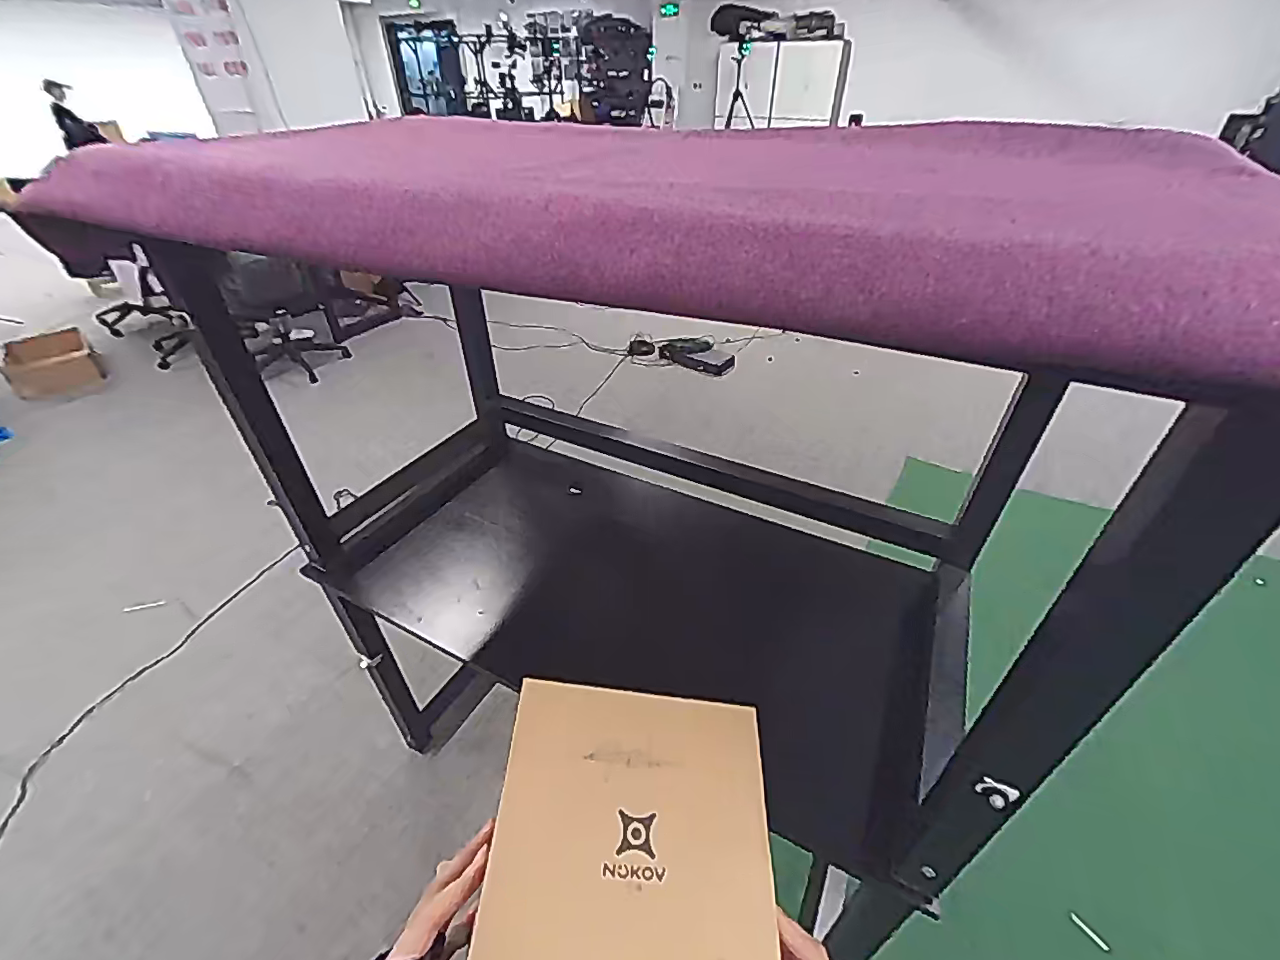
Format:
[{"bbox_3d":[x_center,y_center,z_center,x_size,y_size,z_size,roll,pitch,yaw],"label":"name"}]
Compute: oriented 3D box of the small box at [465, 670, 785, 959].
[{"bbox_3d":[-0.017,0.255,0.365,0.168,0.176,0.179,10,46,-8],"label":"small box"}]
